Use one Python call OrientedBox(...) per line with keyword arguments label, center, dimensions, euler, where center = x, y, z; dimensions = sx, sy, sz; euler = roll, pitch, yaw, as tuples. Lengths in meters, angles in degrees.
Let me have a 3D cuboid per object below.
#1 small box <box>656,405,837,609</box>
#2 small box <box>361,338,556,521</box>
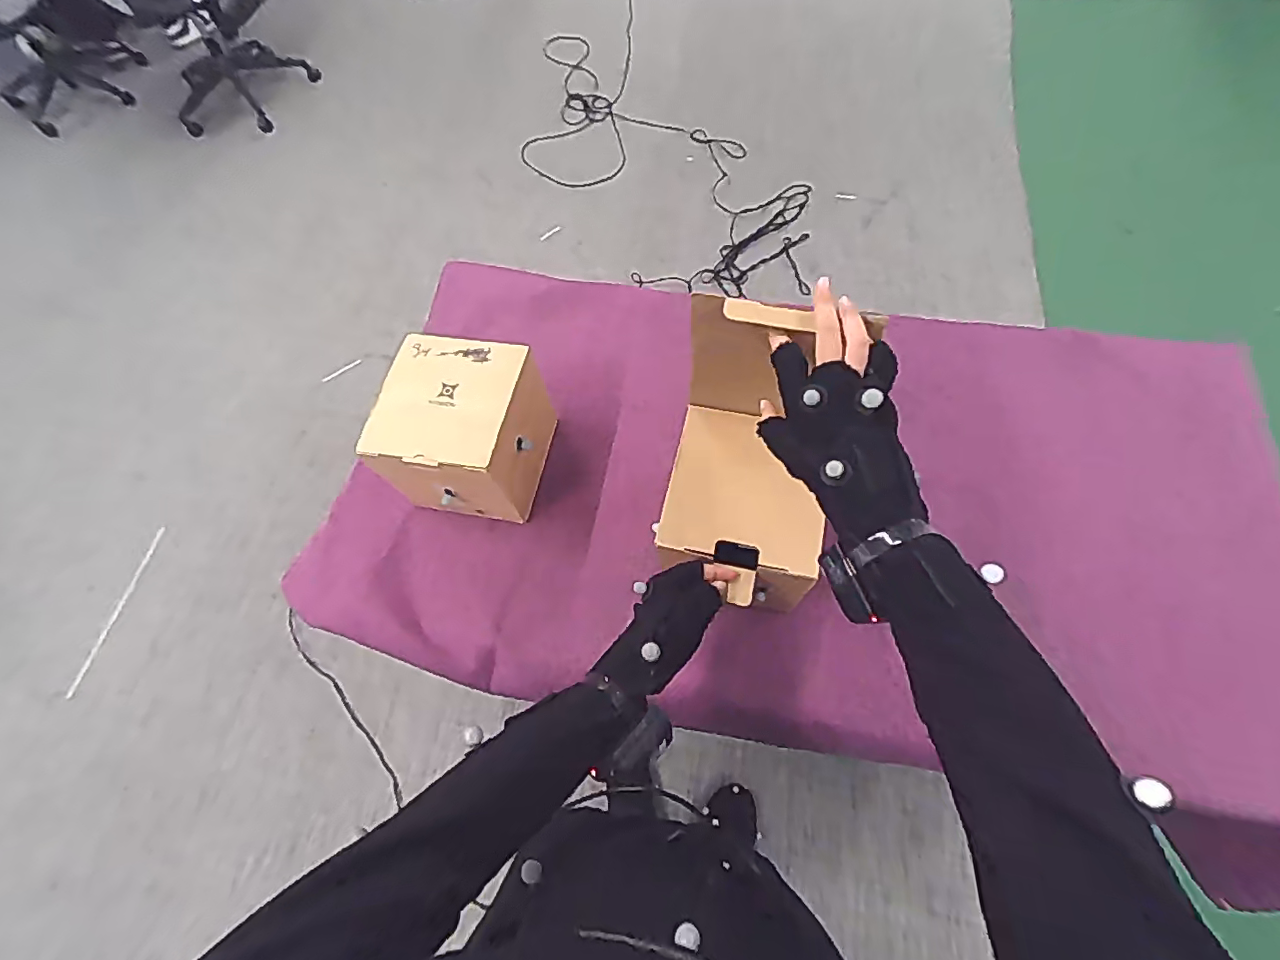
OrientedBox(label="small box", center=(0.122, 0.040, 0.638), dimensions=(0.168, 0.176, 0.179), euler=(11, 66, 10))
OrientedBox(label="small box", center=(-0.221, -0.059, 0.715), dimensions=(0.168, 0.176, 0.179), euler=(8, 66, 8))
